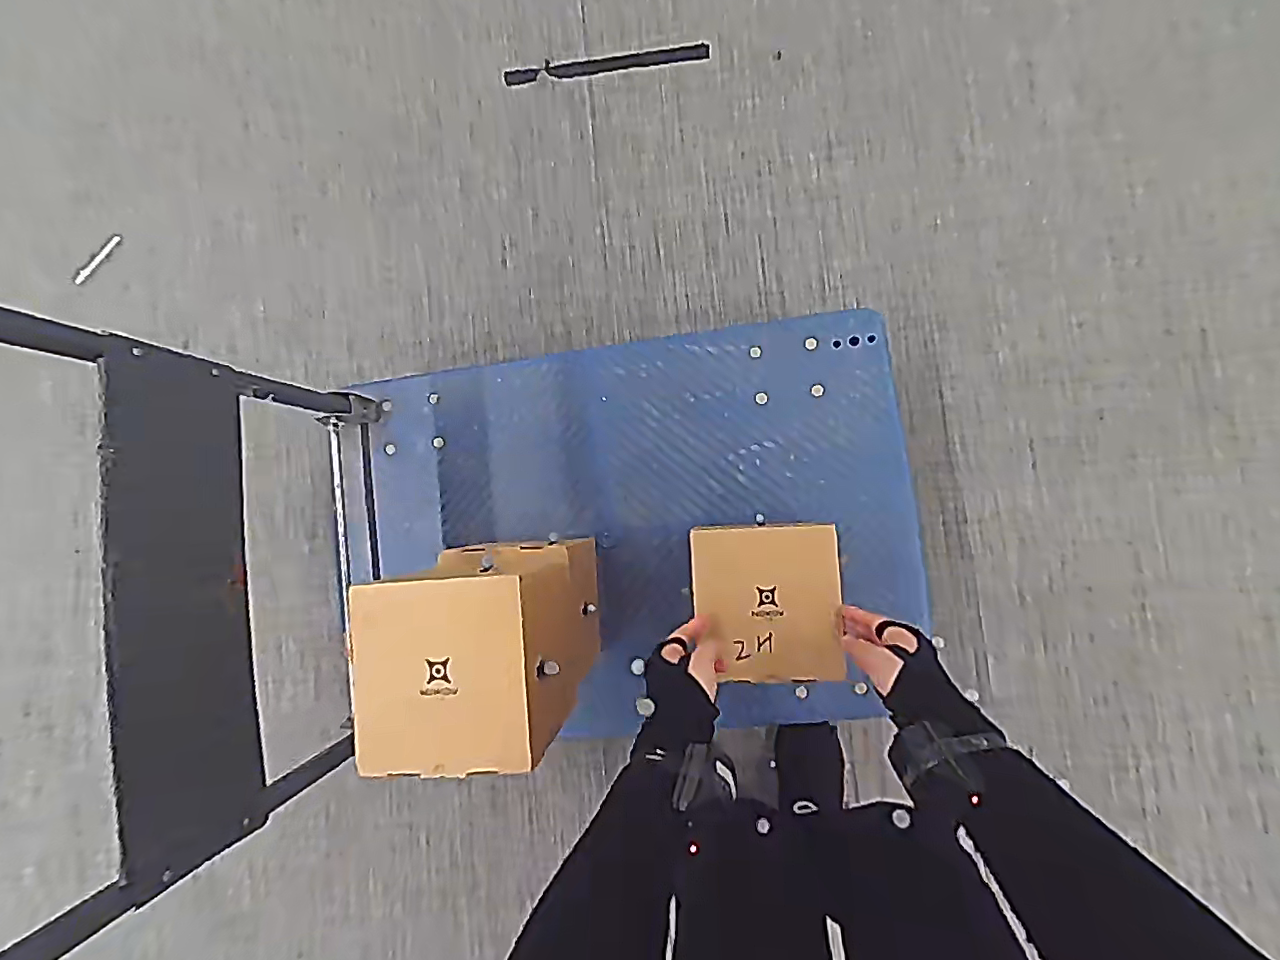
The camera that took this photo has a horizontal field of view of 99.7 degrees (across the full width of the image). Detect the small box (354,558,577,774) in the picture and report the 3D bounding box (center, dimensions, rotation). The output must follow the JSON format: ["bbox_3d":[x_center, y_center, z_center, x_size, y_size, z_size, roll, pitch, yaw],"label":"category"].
[{"bbox_3d":[-0.166,0.175,0.559,0.168,0.176,0.179,-5,87,6],"label":"small box"}]

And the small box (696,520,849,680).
[{"bbox_3d":[0.156,0.142,0.687,0.168,0.176,0.179,-3,86,7],"label":"small box"}]
